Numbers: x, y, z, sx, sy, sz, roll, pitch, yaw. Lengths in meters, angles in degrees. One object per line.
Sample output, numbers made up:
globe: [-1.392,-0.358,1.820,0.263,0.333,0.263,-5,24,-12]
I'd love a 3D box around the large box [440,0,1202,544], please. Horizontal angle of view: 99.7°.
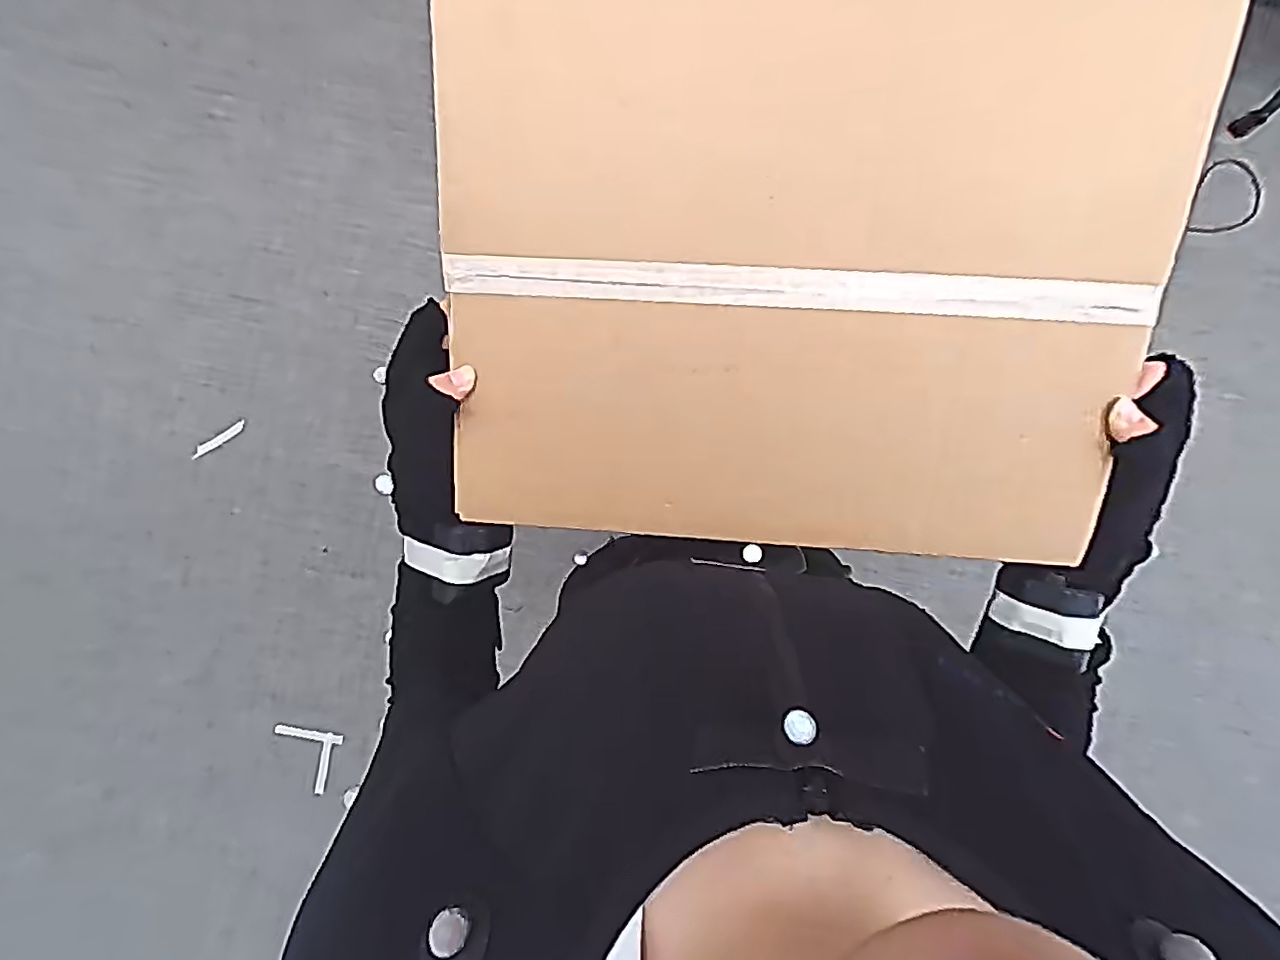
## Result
large box: [0.090,-0.153,0.465,0.408,0.320,0.320,4,107,2]
